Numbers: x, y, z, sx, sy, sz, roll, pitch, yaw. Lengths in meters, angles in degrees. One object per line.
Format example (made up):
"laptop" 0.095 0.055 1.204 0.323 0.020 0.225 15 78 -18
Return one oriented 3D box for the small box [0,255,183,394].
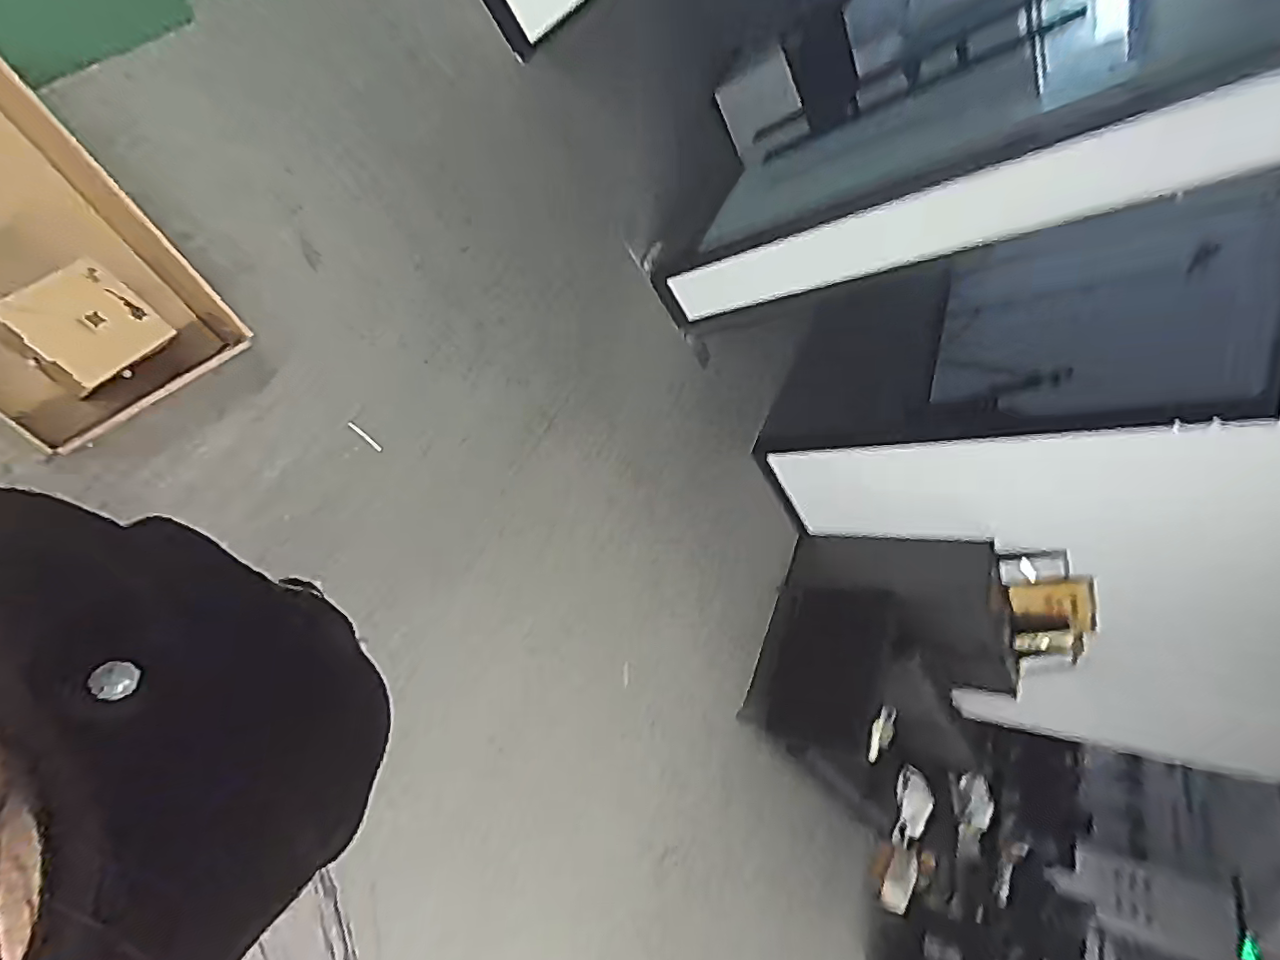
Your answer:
"small box" -1.007 -0.278 1.001 0.168 0.176 0.179 55 52 -32
